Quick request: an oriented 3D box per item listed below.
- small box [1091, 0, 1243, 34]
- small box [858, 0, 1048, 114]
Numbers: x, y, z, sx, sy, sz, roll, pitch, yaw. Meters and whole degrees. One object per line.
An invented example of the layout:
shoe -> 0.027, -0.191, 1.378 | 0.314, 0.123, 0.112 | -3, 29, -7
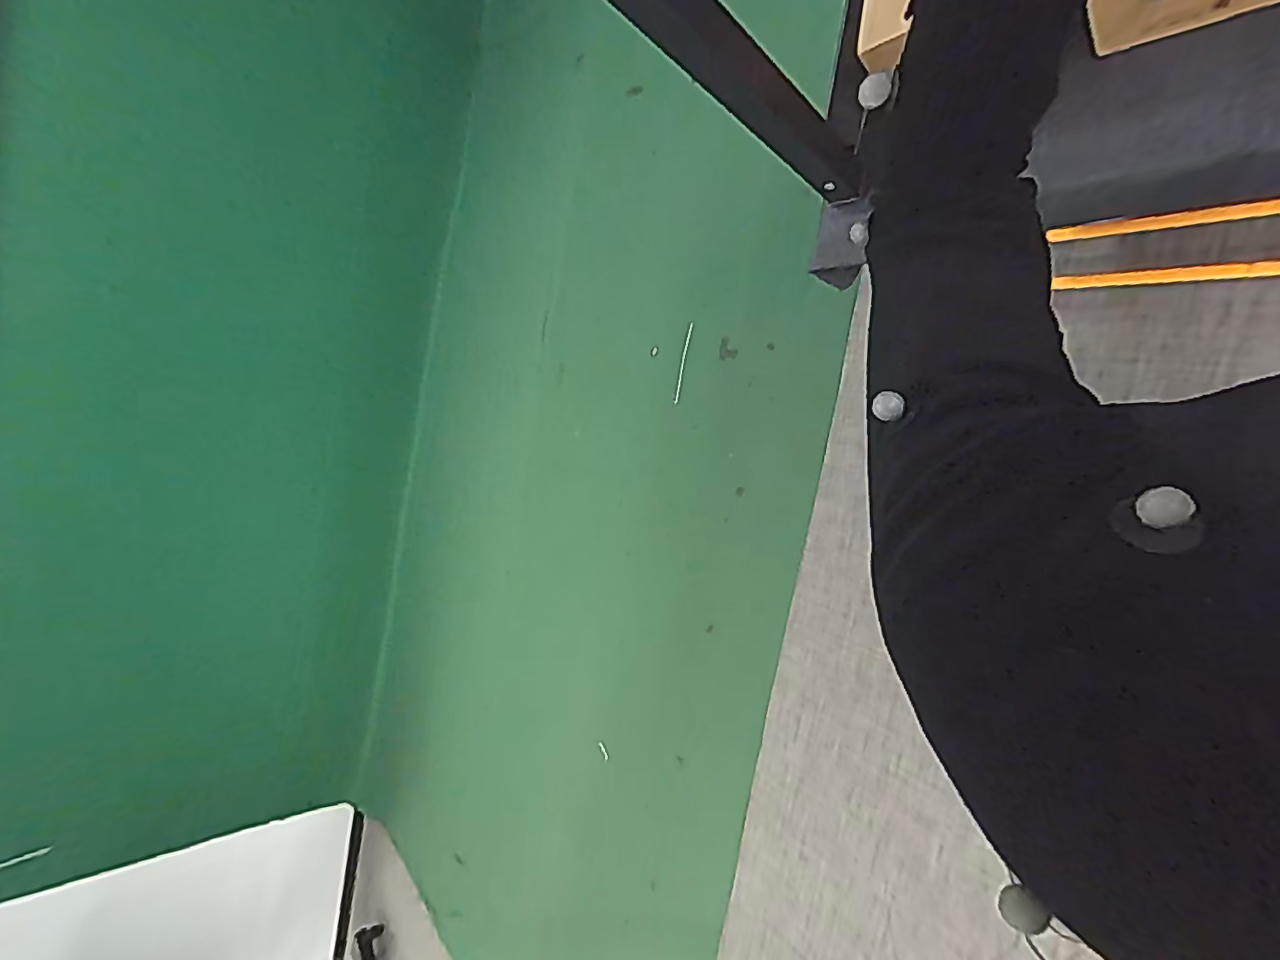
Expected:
small box -> 0.560, -0.589, 0.526 | 0.168, 0.176, 0.179 | 14, 95, 46
small box -> 0.405, -0.622, 0.689 | 0.168, 0.176, 0.179 | 11, 93, 46
